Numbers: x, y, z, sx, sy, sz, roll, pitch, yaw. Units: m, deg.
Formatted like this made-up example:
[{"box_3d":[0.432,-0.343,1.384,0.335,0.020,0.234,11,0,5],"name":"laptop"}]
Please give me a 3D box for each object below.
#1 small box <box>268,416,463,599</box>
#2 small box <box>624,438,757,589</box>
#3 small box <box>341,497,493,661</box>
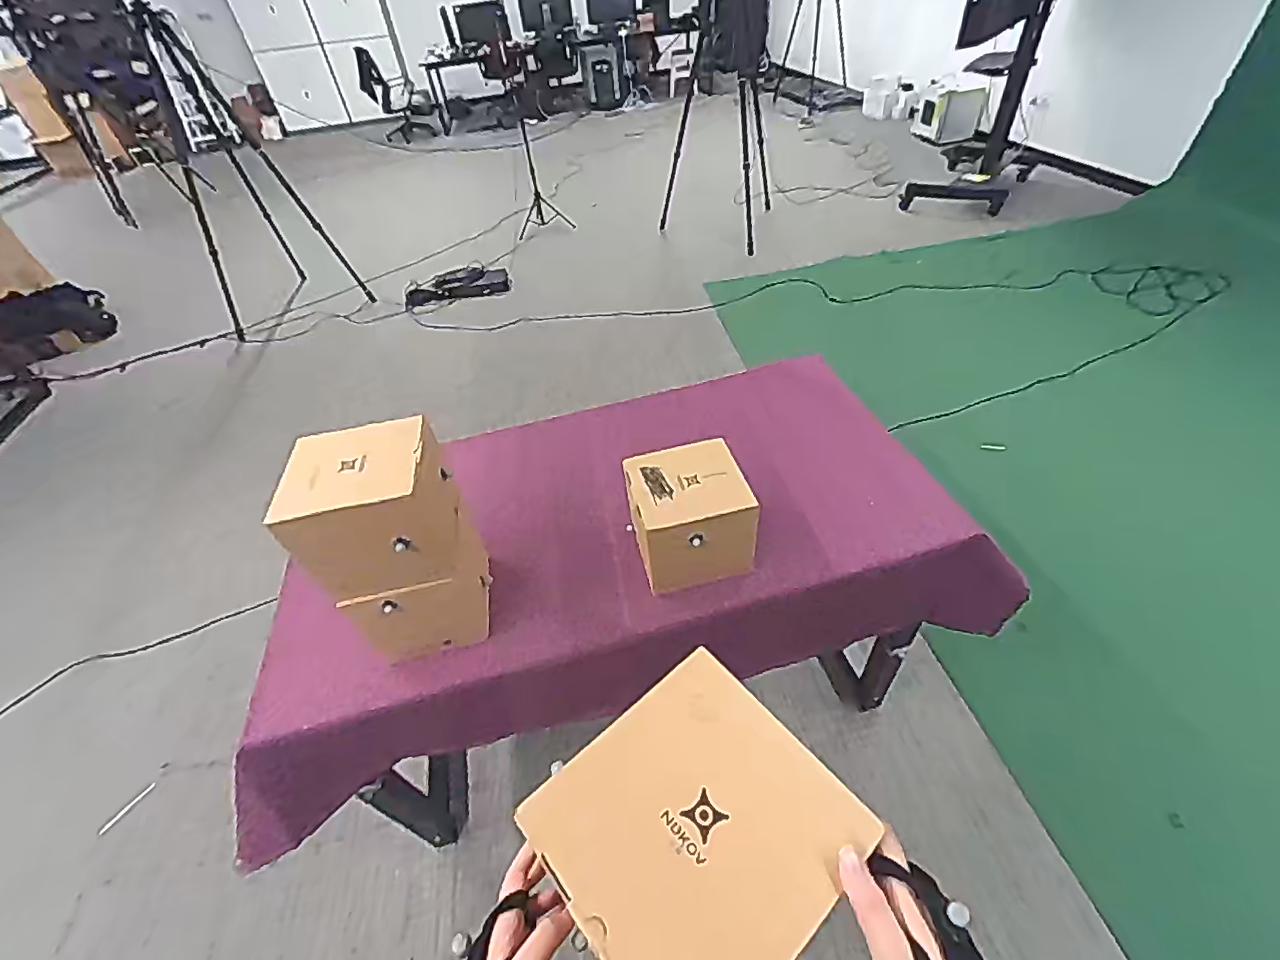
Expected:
[{"box_3d":[-0.356,0.040,0.748,0.179,0.176,0.168,-12,44,-3],"name":"small box"},{"box_3d":[0.083,0.059,0.900,0.179,0.176,0.168,-13,45,-5],"name":"small box"},{"box_3d":[-0.341,0.156,0.862,0.168,0.176,0.179,-13,44,-4],"name":"small box"}]
